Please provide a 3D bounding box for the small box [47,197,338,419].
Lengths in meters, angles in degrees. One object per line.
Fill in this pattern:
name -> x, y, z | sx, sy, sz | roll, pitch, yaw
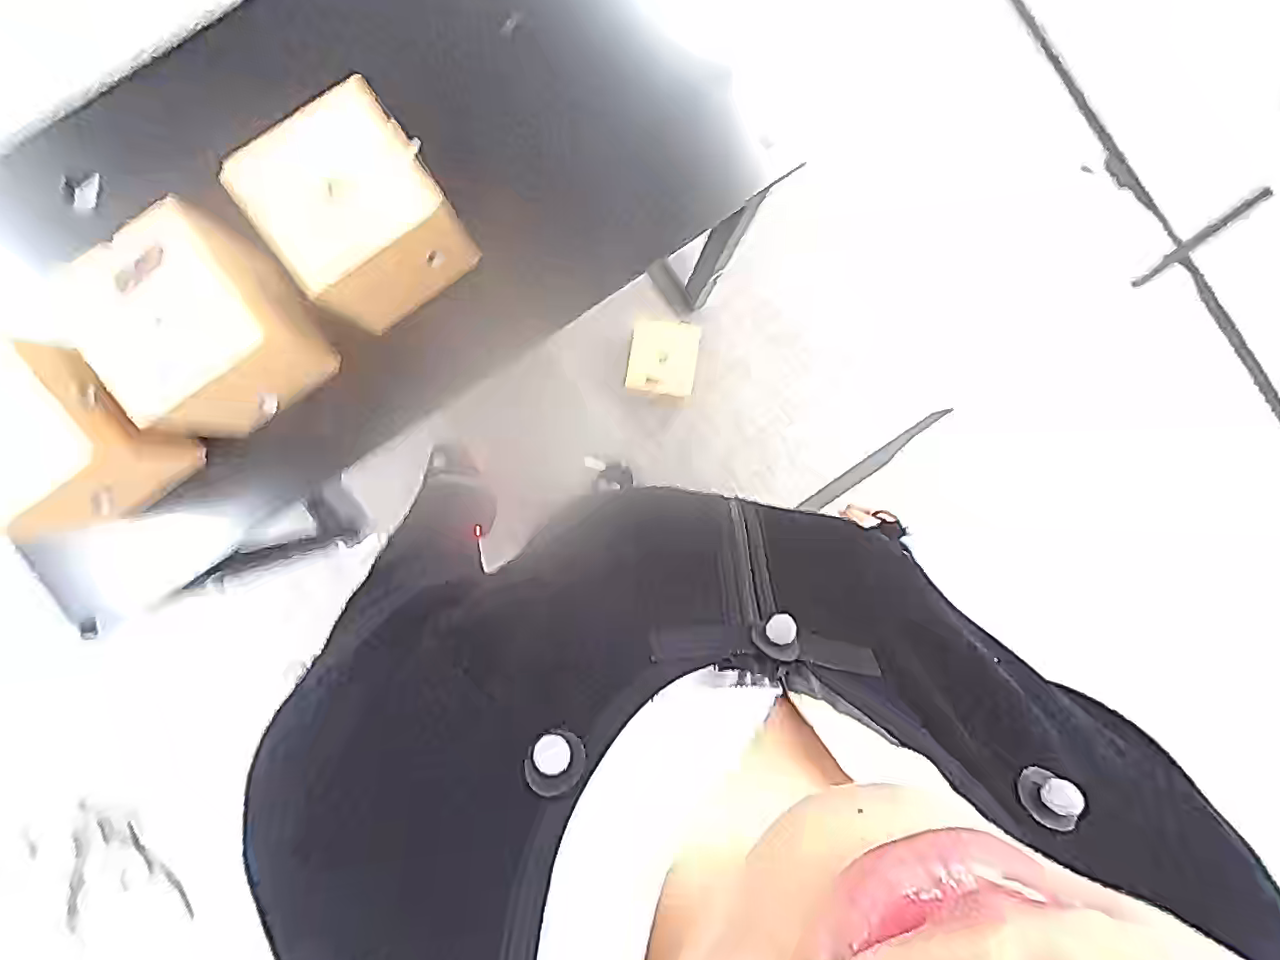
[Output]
small box -> -0.518, -0.190, 0.657 | 0.168, 0.176, 0.179 | -34, 94, -2

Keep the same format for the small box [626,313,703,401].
small box -> 0.057, -0.315, 1.416 | 0.168, 0.176, 0.179 | 9, 91, -3

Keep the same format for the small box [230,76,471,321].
small box -> -0.330, -0.326, 0.666 | 0.179, 0.176, 0.168 | -35, 92, -1
